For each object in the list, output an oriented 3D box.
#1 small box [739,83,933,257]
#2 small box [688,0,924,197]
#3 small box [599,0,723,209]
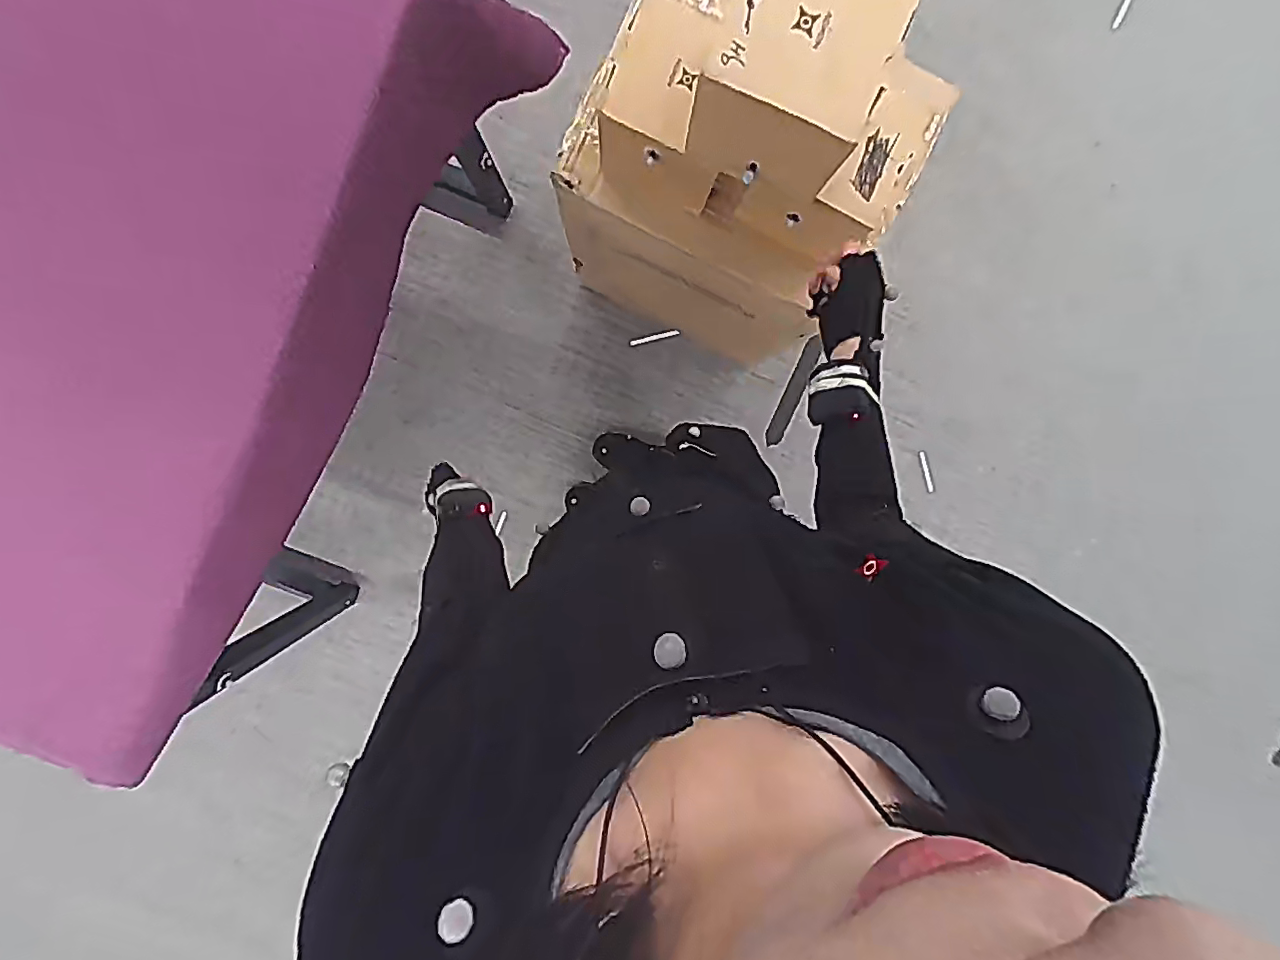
[{"bbox_3d":[0.264,-0.445,0.773,0.179,0.176,0.168,27,94,-2],"label":"small box"},{"bbox_3d":[0.169,-0.450,0.607,0.179,0.176,0.168,23,95,-3],"label":"small box"},{"bbox_3d":[0.054,-0.516,0.762,0.179,0.176,0.168,23,95,-6],"label":"small box"}]
